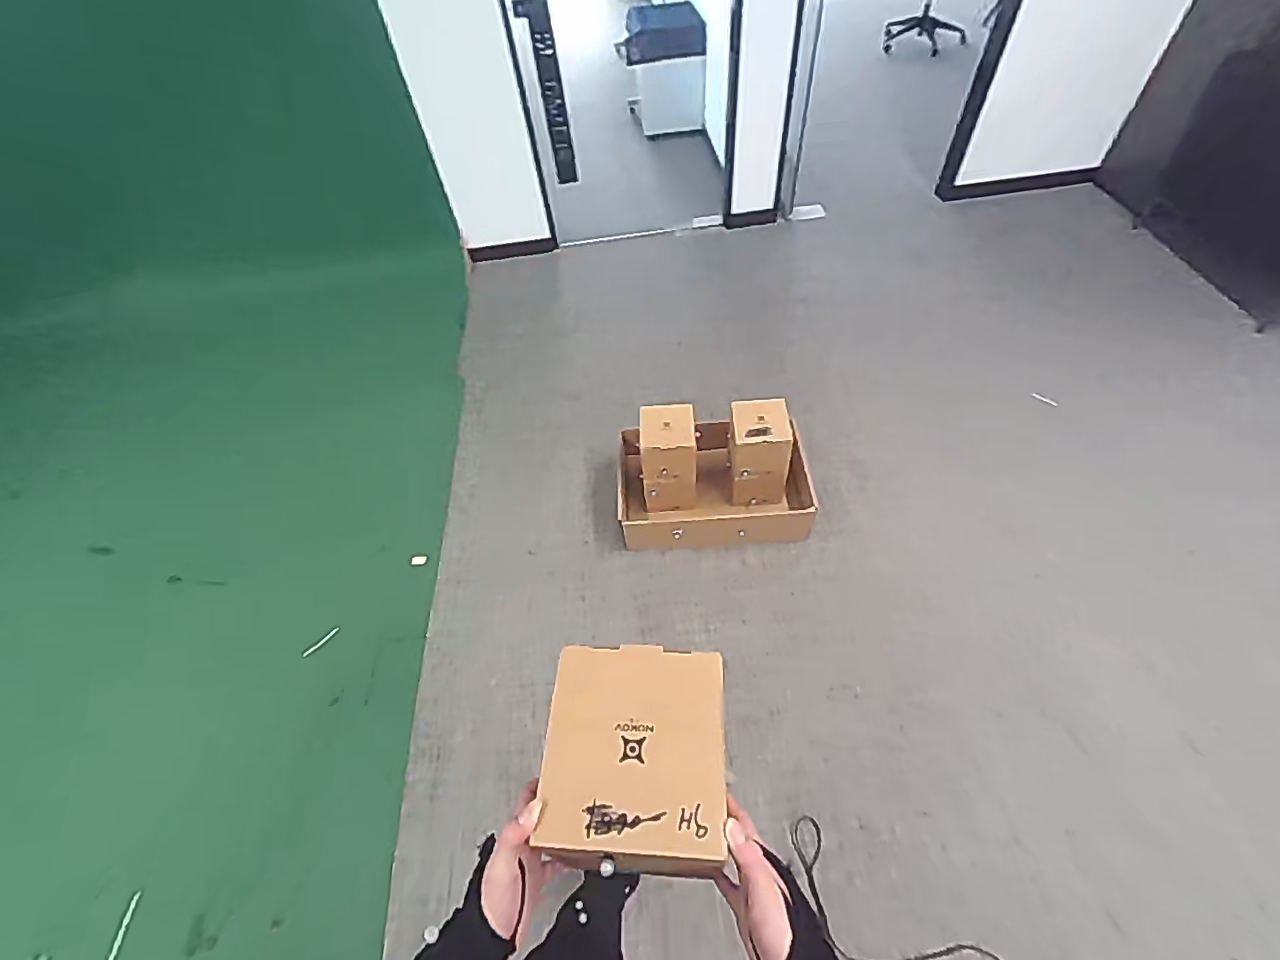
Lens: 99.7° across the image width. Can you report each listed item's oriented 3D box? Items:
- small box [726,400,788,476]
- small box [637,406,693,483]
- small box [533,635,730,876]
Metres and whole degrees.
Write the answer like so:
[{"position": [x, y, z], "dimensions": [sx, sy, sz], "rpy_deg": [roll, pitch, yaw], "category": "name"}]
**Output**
[{"position": [0.358, -0.124, 1.677], "dimensions": [0.168, 0.176, 0.179], "rpy_deg": [-3, 52, 5], "category": "small box"}, {"position": [0.075, -0.110, 1.693], "dimensions": [0.168, 0.176, 0.179], "rpy_deg": [-2, 52, 2], "category": "small box"}, {"position": [0.002, 0.281, 0.552], "dimensions": [0.168, 0.176, 0.179], "rpy_deg": [2, 49, 6], "category": "small box"}]
